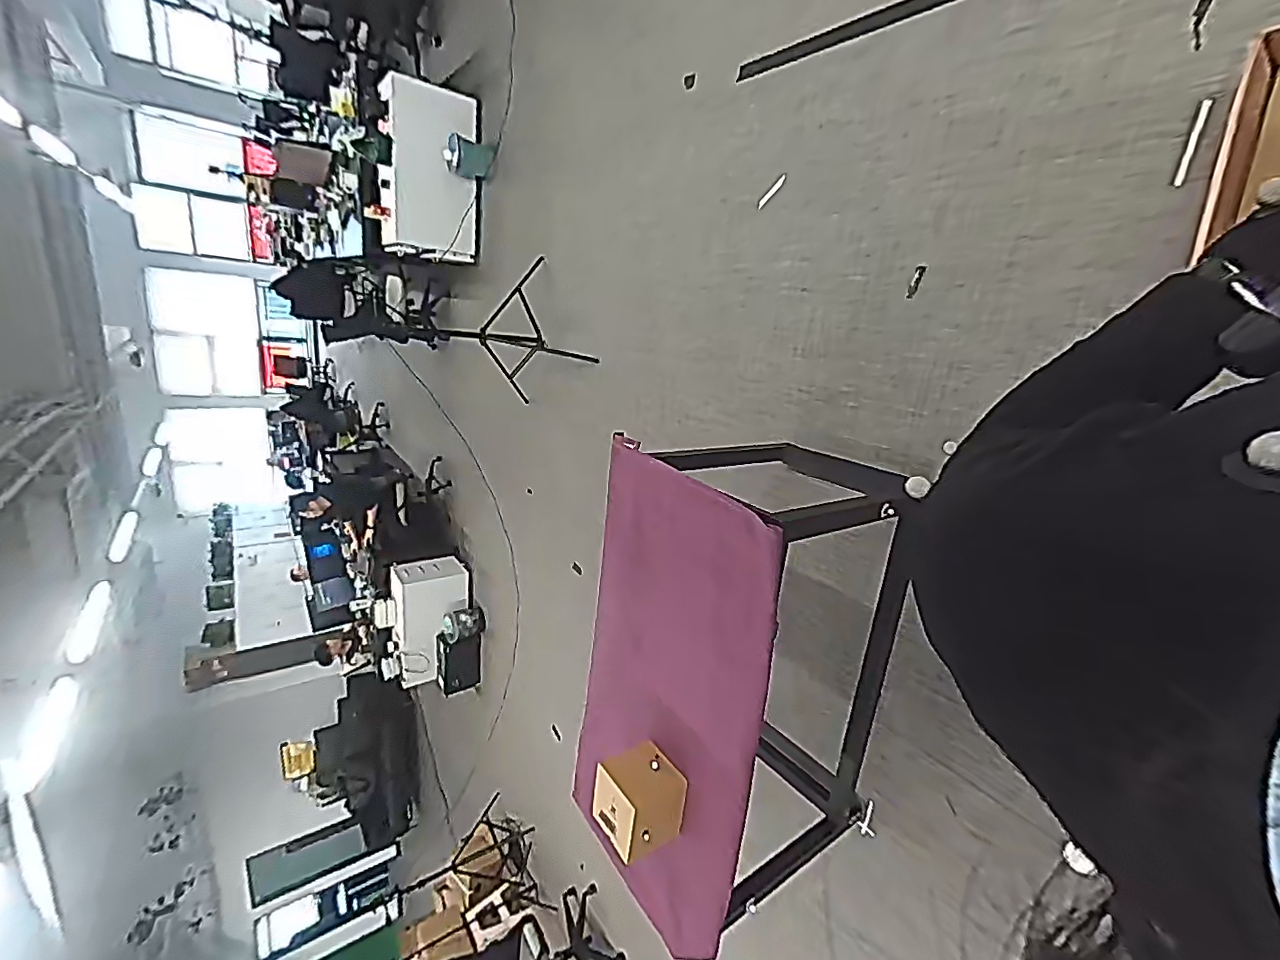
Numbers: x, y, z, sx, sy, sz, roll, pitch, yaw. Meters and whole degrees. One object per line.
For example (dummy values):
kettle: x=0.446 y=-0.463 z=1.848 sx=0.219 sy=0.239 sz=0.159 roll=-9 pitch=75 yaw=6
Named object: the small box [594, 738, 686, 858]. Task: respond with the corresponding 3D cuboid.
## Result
small box: x=0.000 y=0.808 z=1.390 sx=0.168 sy=0.176 sz=0.179 roll=27 pitch=115 yaw=49
